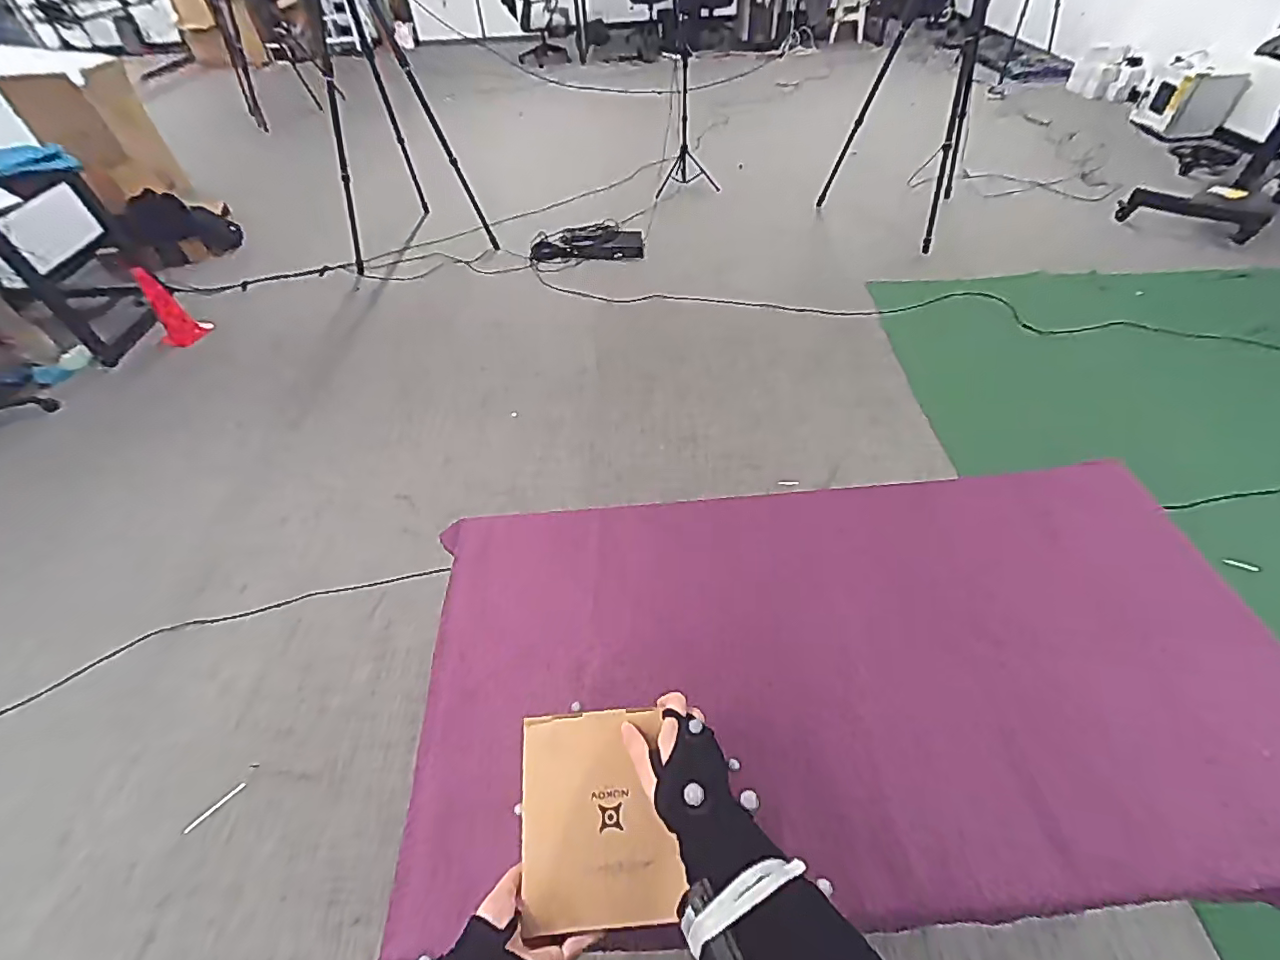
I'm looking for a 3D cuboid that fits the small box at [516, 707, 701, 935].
[{"bbox_3d":[-0.032,0.349,0.580,0.168,0.176,0.179,-4,65,-1],"label":"small box"}]
